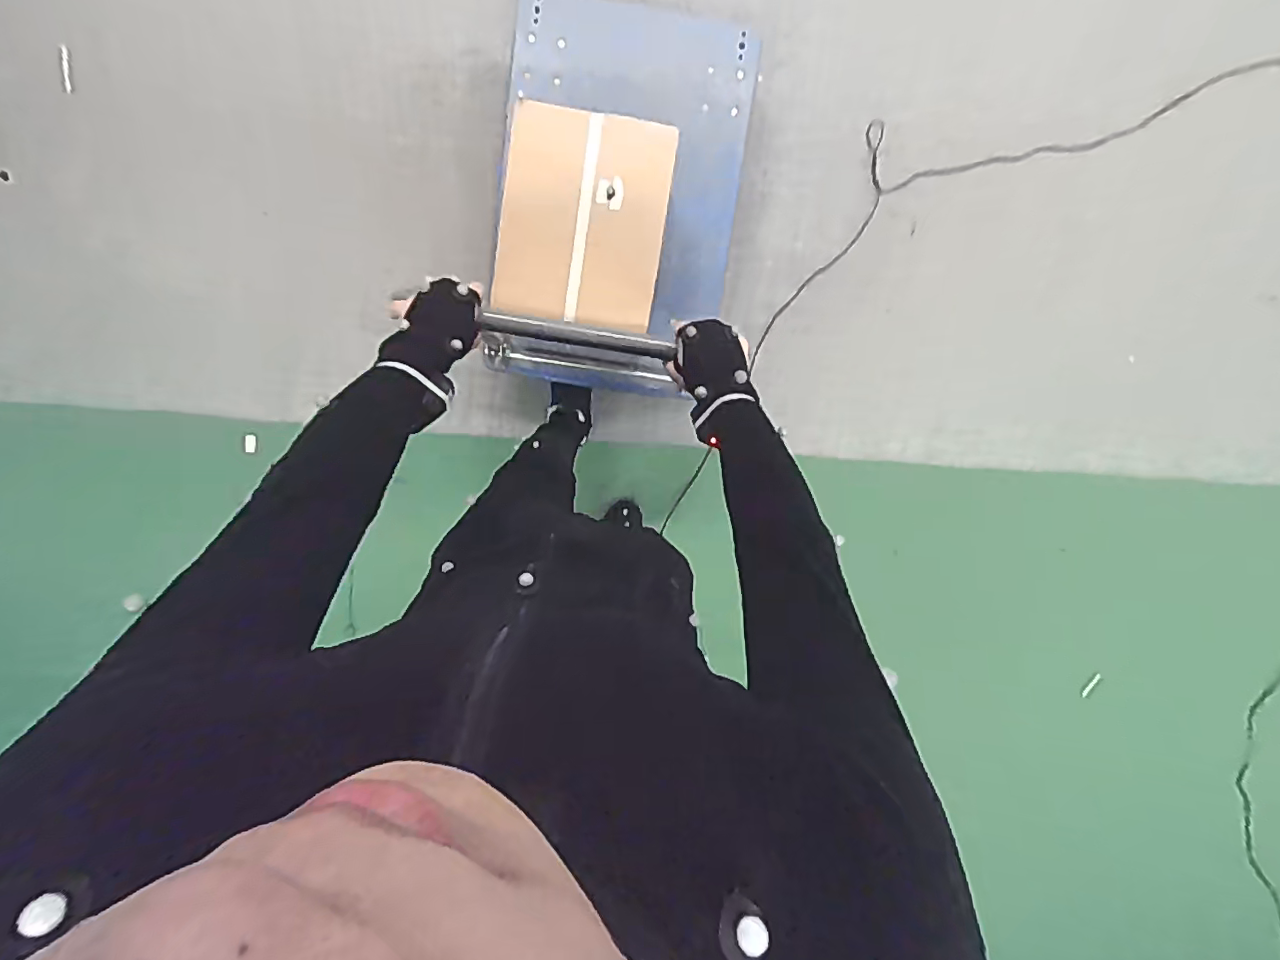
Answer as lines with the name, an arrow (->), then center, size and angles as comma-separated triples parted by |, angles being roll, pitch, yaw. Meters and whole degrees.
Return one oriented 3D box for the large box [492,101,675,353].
large box -> -0.114, -0.513, 1.188 | 0.320, 0.320, 0.408 | 9, 98, -3
